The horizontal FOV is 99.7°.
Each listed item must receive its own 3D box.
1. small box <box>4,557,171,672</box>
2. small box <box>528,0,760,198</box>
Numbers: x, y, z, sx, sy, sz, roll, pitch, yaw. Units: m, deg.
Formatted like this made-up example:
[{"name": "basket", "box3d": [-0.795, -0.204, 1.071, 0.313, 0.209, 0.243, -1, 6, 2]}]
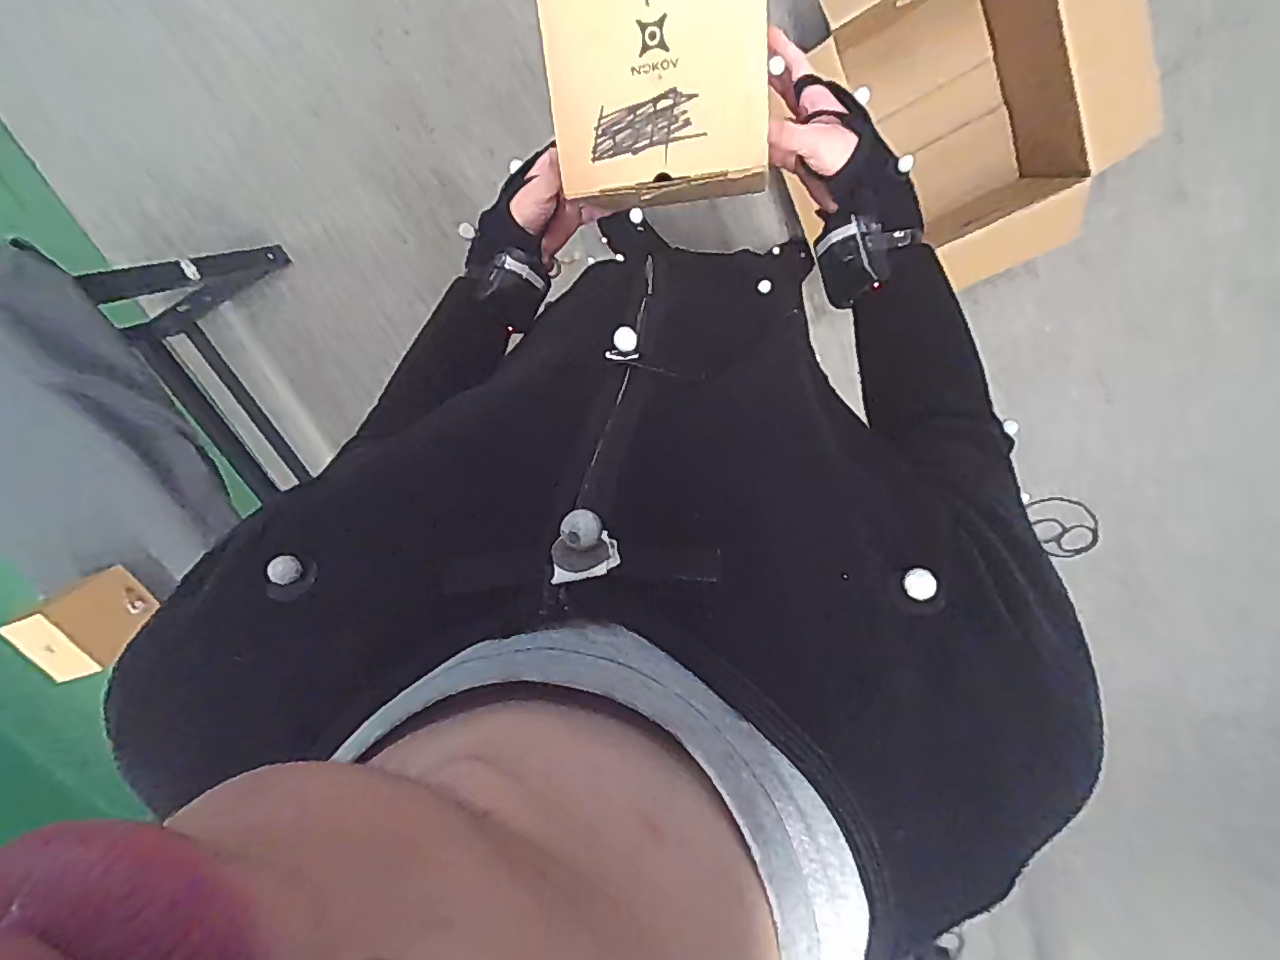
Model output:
[{"name": "small box", "box3d": [-1.223, 0.299, 1.212, 0.179, 0.176, 0.168, -18, 115, 19]}, {"name": "small box", "box3d": [0.018, -0.346, 0.461, 0.168, 0.176, 0.179, -1, 113, 12]}]
